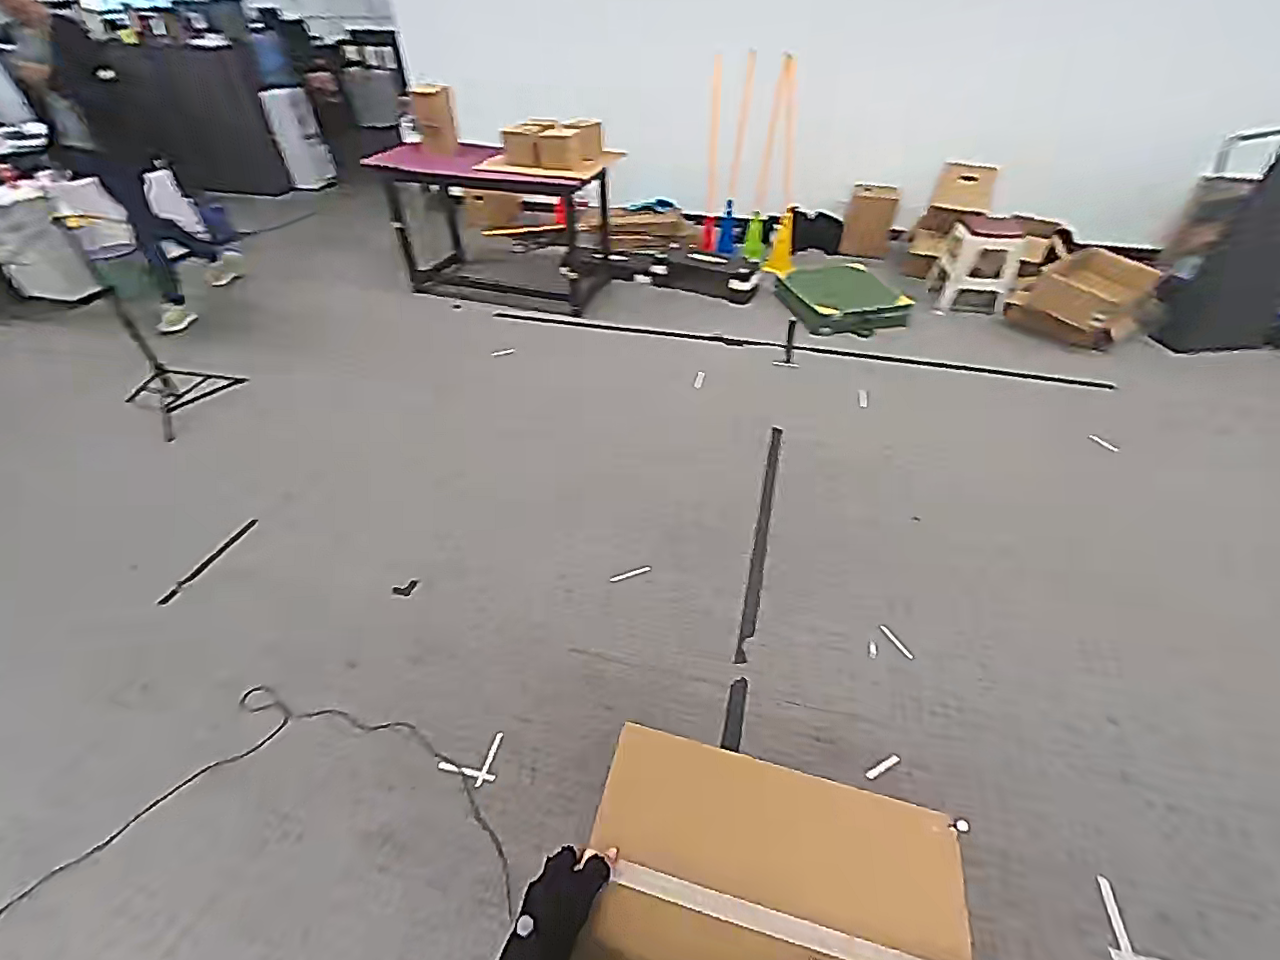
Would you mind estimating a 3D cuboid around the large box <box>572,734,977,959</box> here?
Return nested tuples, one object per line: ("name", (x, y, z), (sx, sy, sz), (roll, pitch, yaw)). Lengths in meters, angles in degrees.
("large box", (0.139, 0.577, 0.668), (0.408, 0.320, 0.320), (13, 45, 11))
